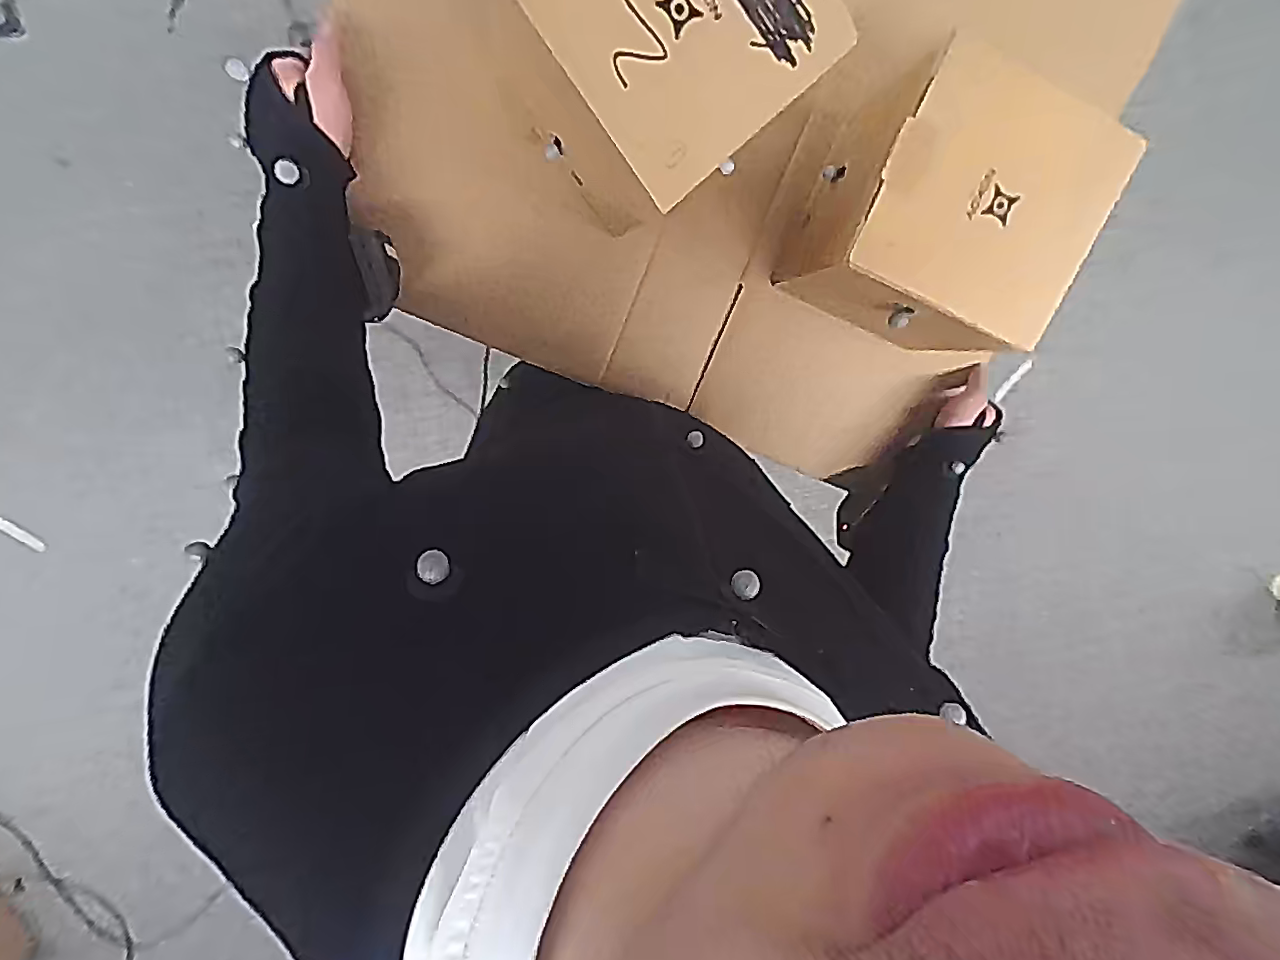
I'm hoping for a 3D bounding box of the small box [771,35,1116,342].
[{"bbox_3d":[0.250,-0.237,0.492,0.179,0.176,0.168,20,101,-10],"label":"small box"}]
